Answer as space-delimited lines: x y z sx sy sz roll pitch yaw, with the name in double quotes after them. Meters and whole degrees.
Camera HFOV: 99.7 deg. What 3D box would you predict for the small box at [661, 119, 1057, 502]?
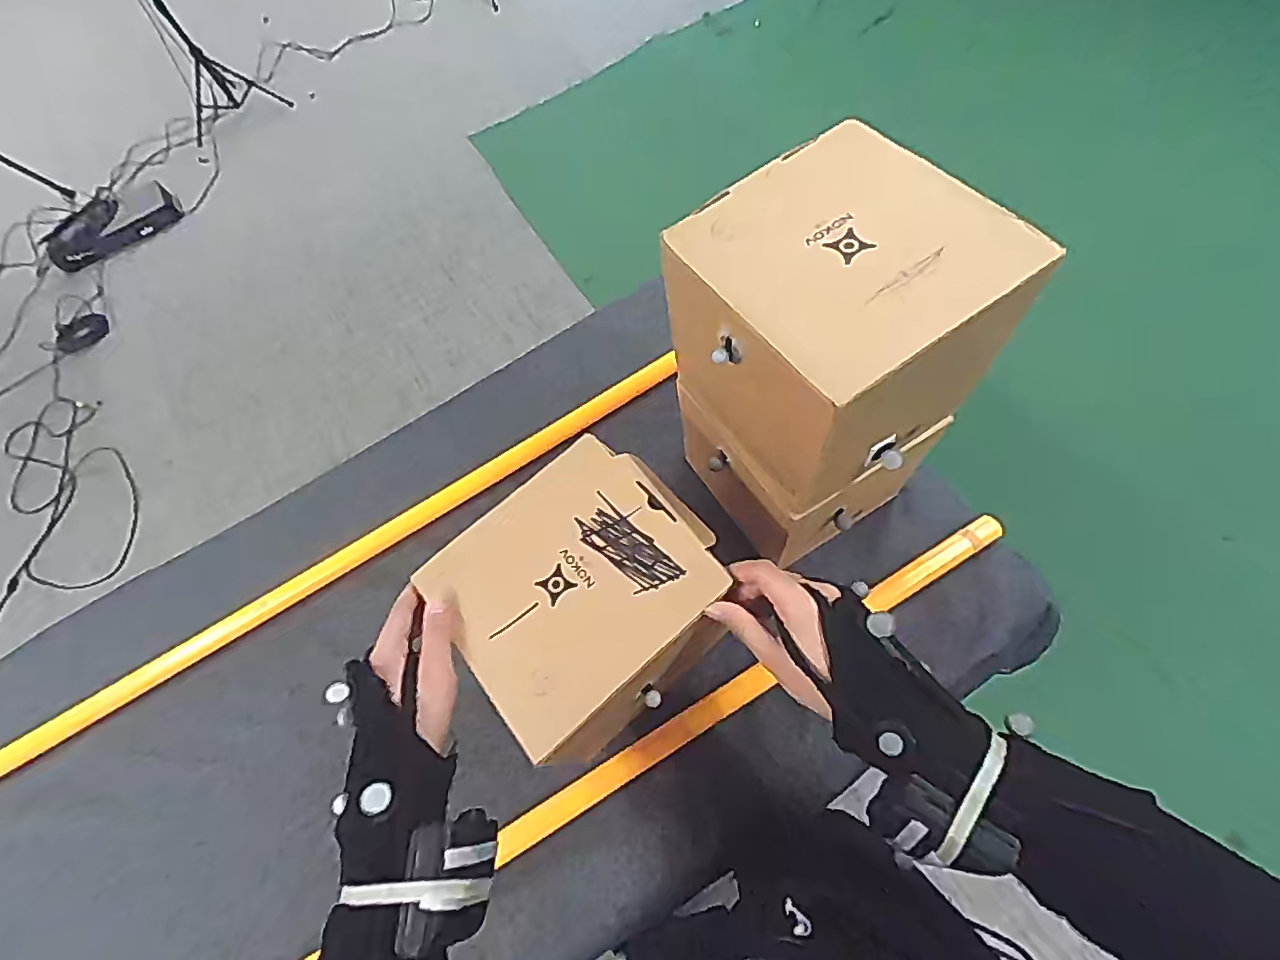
0.136 -0.114 0.404 0.168 0.176 0.179 -34 65 -6 "small box"
